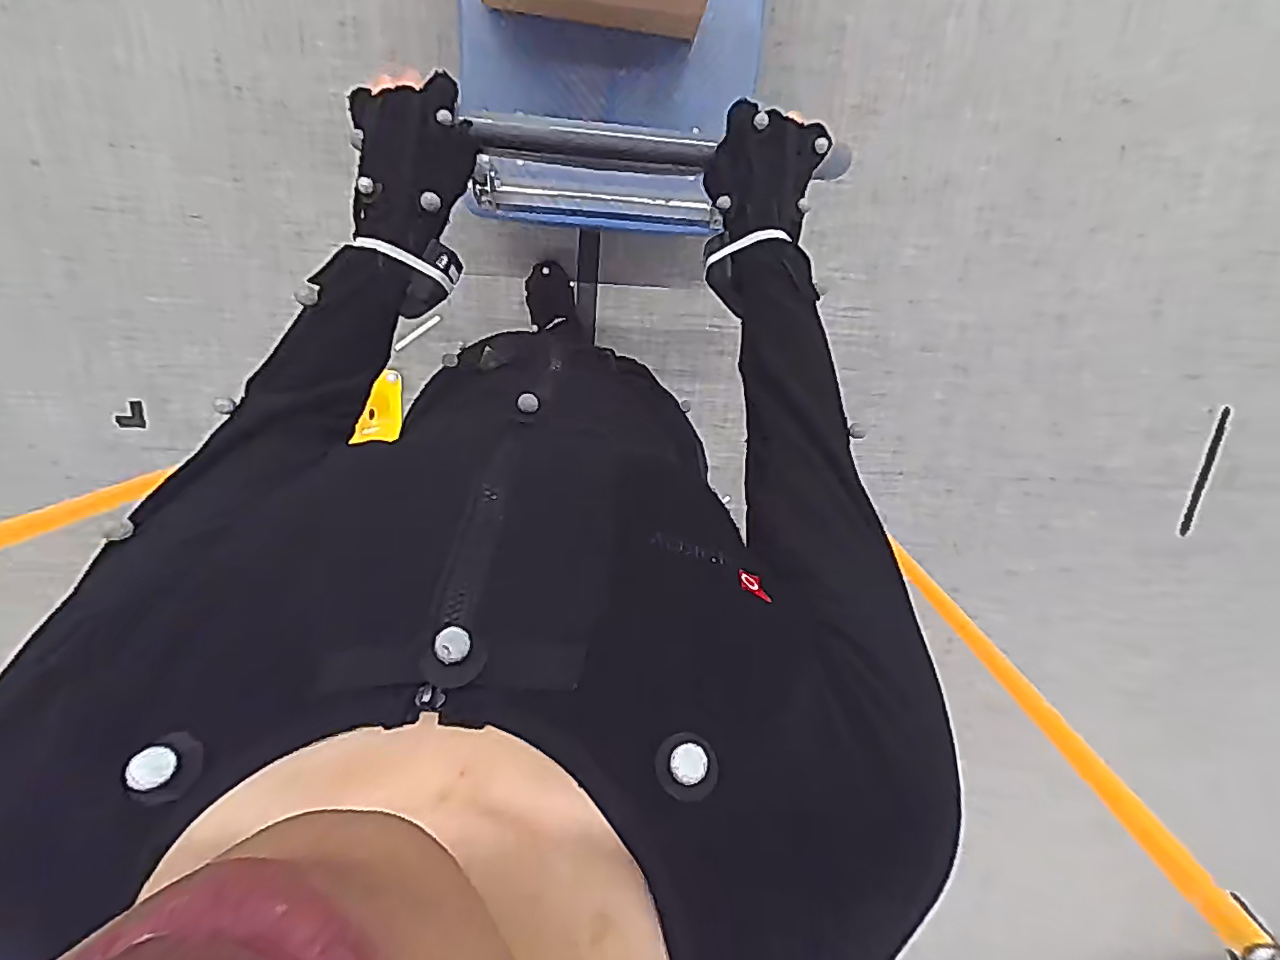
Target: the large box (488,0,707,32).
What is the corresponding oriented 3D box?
[{"bbox_3d":[-0.068,-0.976,0.852,0.408,0.320,0.320,4,108,-4],"label":"large box"}]
